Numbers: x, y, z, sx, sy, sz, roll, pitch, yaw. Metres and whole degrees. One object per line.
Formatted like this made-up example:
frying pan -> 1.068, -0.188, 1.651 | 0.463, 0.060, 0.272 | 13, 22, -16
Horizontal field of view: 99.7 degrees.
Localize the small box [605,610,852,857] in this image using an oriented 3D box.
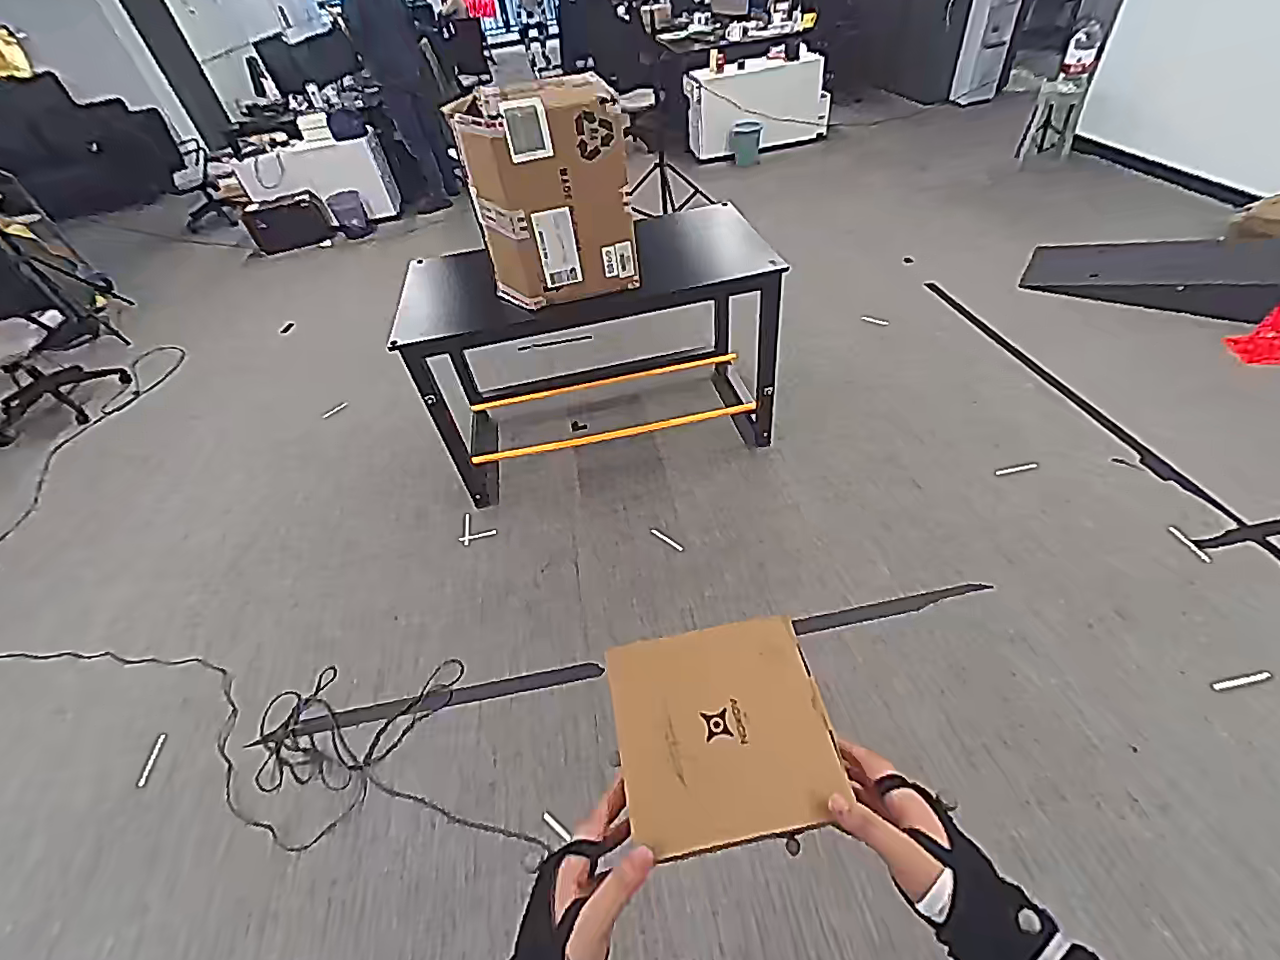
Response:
small box -> 0.070, 0.248, 0.523 | 0.179, 0.176, 0.168 | -11, 53, -4
